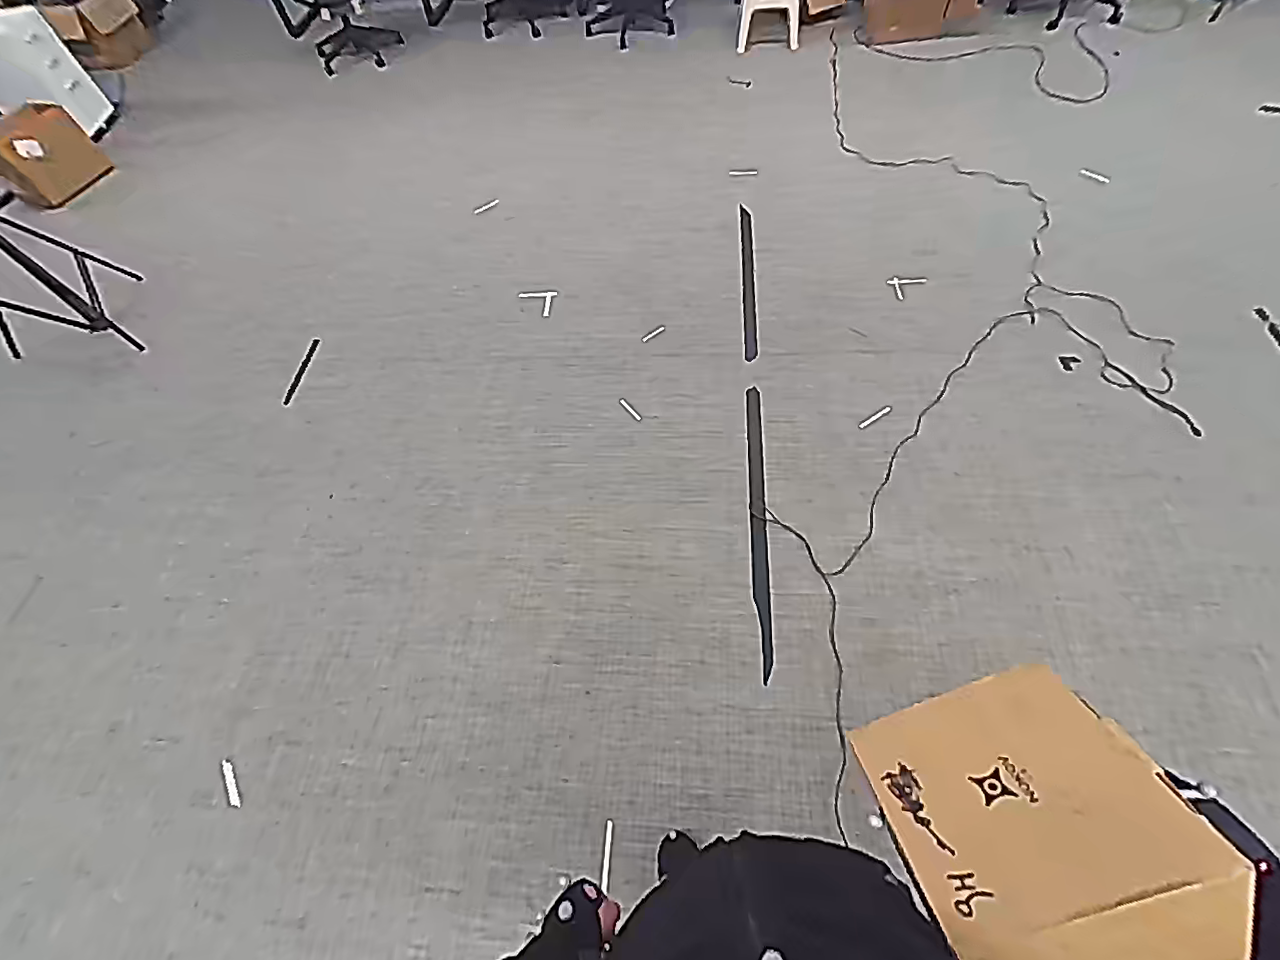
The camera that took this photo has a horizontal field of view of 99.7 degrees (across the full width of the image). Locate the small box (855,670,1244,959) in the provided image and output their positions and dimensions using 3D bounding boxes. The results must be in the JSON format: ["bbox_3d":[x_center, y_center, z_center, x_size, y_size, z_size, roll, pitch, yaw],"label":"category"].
[{"bbox_3d":[0.305,0.295,0.432,0.179,0.176,0.168,-24,23,7],"label":"small box"}]
